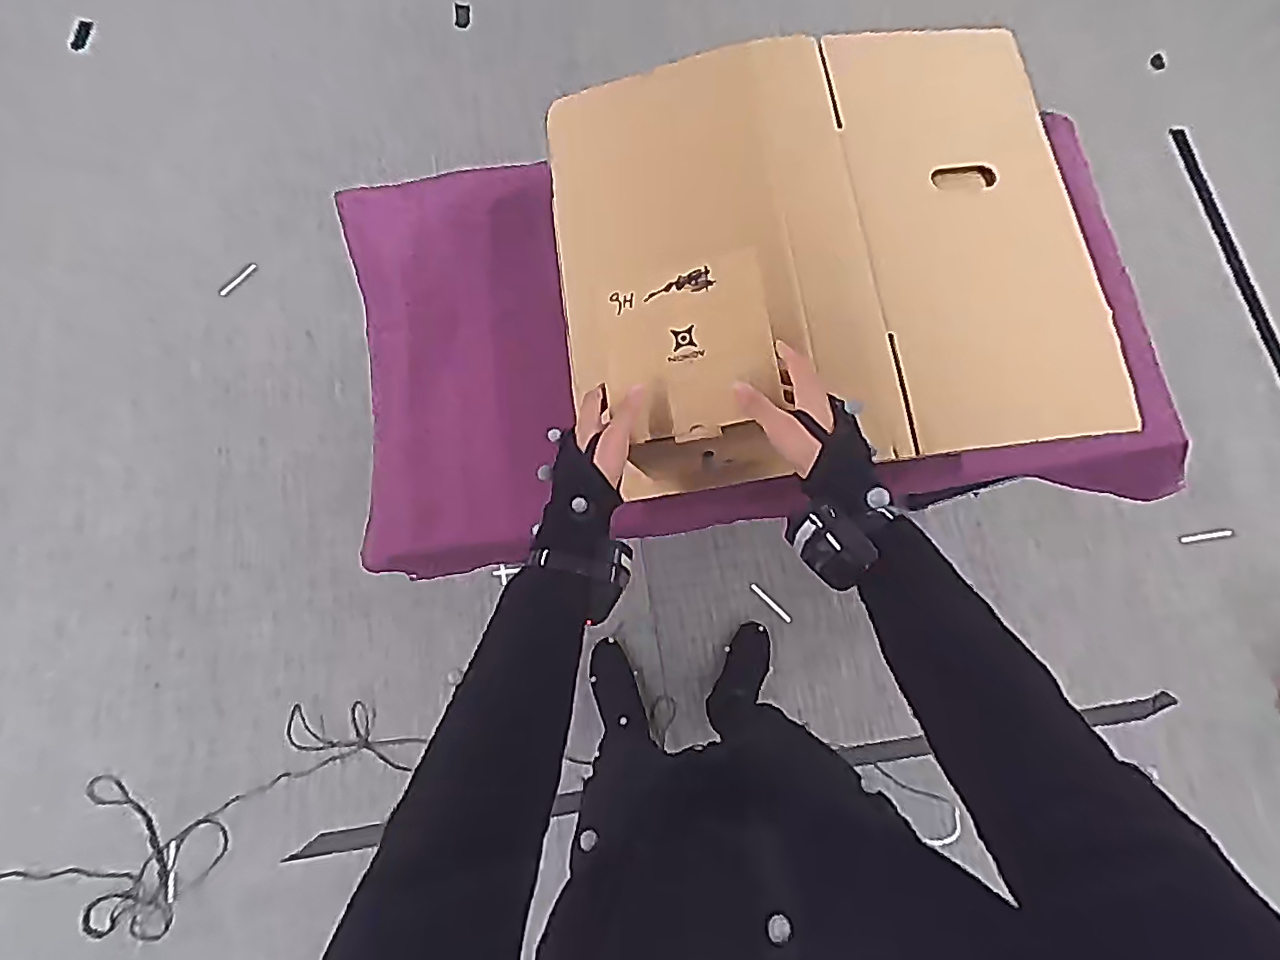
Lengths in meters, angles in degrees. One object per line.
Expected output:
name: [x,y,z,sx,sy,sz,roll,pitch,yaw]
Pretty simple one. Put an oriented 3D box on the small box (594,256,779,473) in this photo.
small box: [0.059,-0.109,0.601,0.168,0.176,0.179,-10,79,11]
